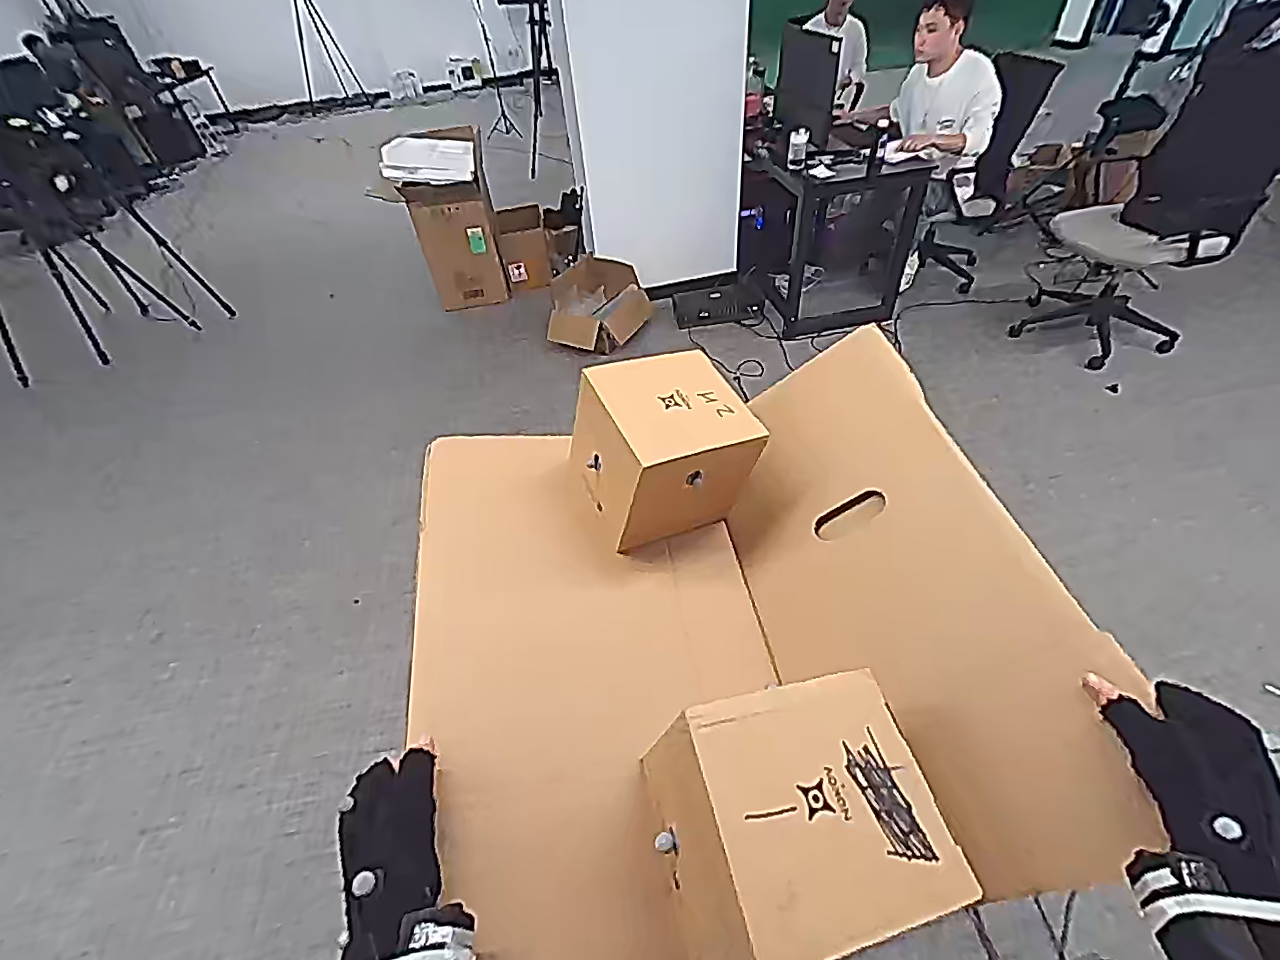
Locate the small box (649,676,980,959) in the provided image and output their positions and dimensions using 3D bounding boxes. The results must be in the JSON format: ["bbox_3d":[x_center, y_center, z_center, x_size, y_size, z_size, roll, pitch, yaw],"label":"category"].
[{"bbox_3d":[0.122,0.287,0.456,0.179,0.176,0.168,-5,53,-17],"label":"small box"}]

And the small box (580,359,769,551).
[{"bbox_3d":[0.029,-0.031,0.702,0.179,0.176,0.168,-14,55,-25],"label":"small box"}]
